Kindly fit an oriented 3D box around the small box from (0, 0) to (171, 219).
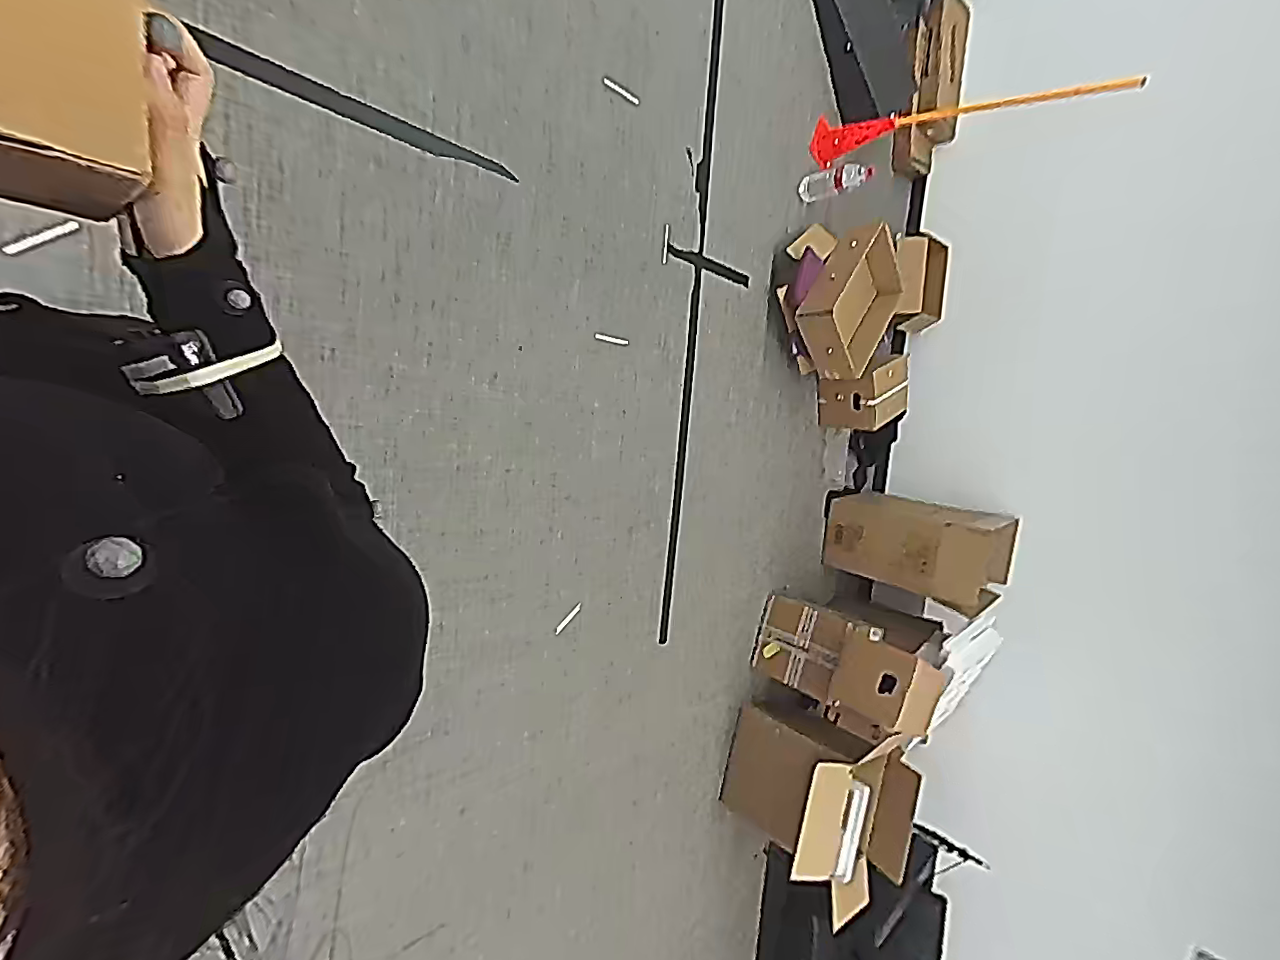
[{"bbox_3d":[-0.325,-0.234,0.232,0.168,0.176,0.179,-4,104,-49],"label":"small box"}]
